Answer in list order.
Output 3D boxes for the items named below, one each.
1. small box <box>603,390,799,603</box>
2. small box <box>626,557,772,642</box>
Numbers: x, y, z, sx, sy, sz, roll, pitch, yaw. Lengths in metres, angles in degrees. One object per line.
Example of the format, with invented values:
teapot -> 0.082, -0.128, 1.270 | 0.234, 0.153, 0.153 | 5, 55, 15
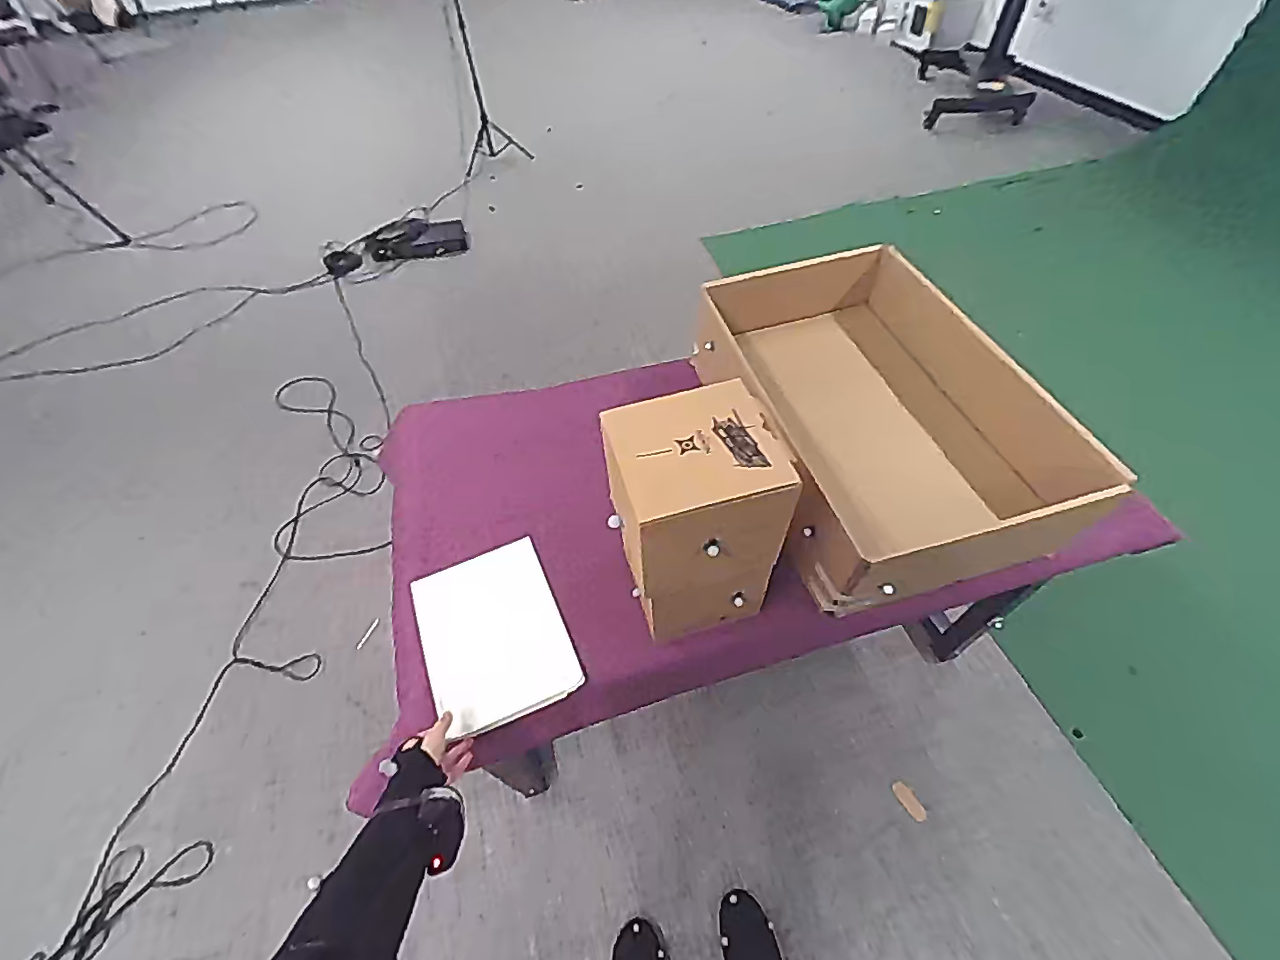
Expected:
small box -> 0.062, 0.022, 0.646 | 0.179, 0.176, 0.168 | -14, 51, -8
small box -> 0.072, 0.116, 0.781 | 0.168, 0.176, 0.179 | -14, 51, -8
